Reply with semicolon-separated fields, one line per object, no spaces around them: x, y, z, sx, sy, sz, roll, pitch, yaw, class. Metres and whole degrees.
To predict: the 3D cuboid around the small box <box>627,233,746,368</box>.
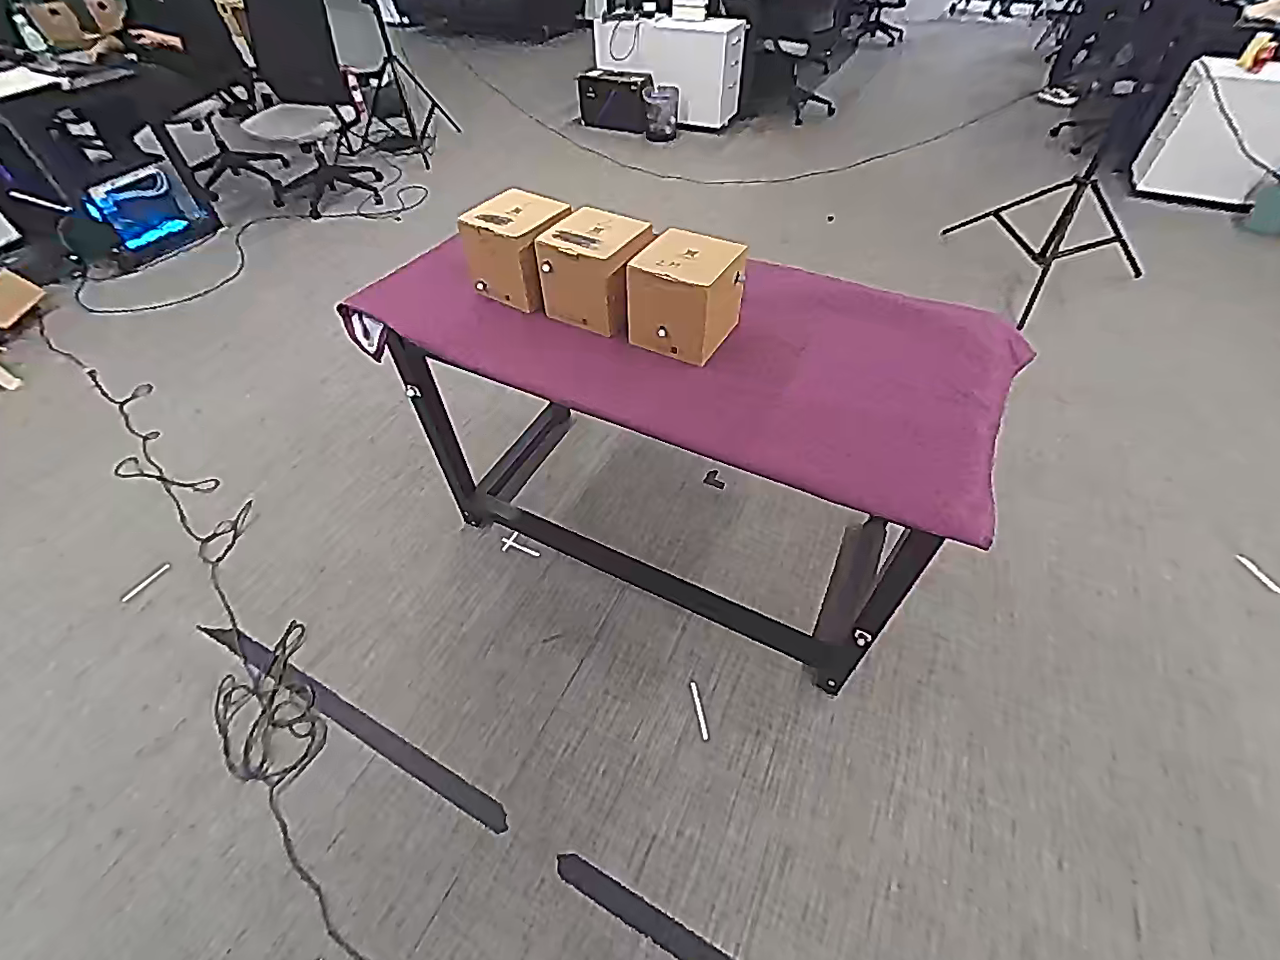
0.088;-0.349;1.053;0.168;0.176;0.179;23;53;21;small box
